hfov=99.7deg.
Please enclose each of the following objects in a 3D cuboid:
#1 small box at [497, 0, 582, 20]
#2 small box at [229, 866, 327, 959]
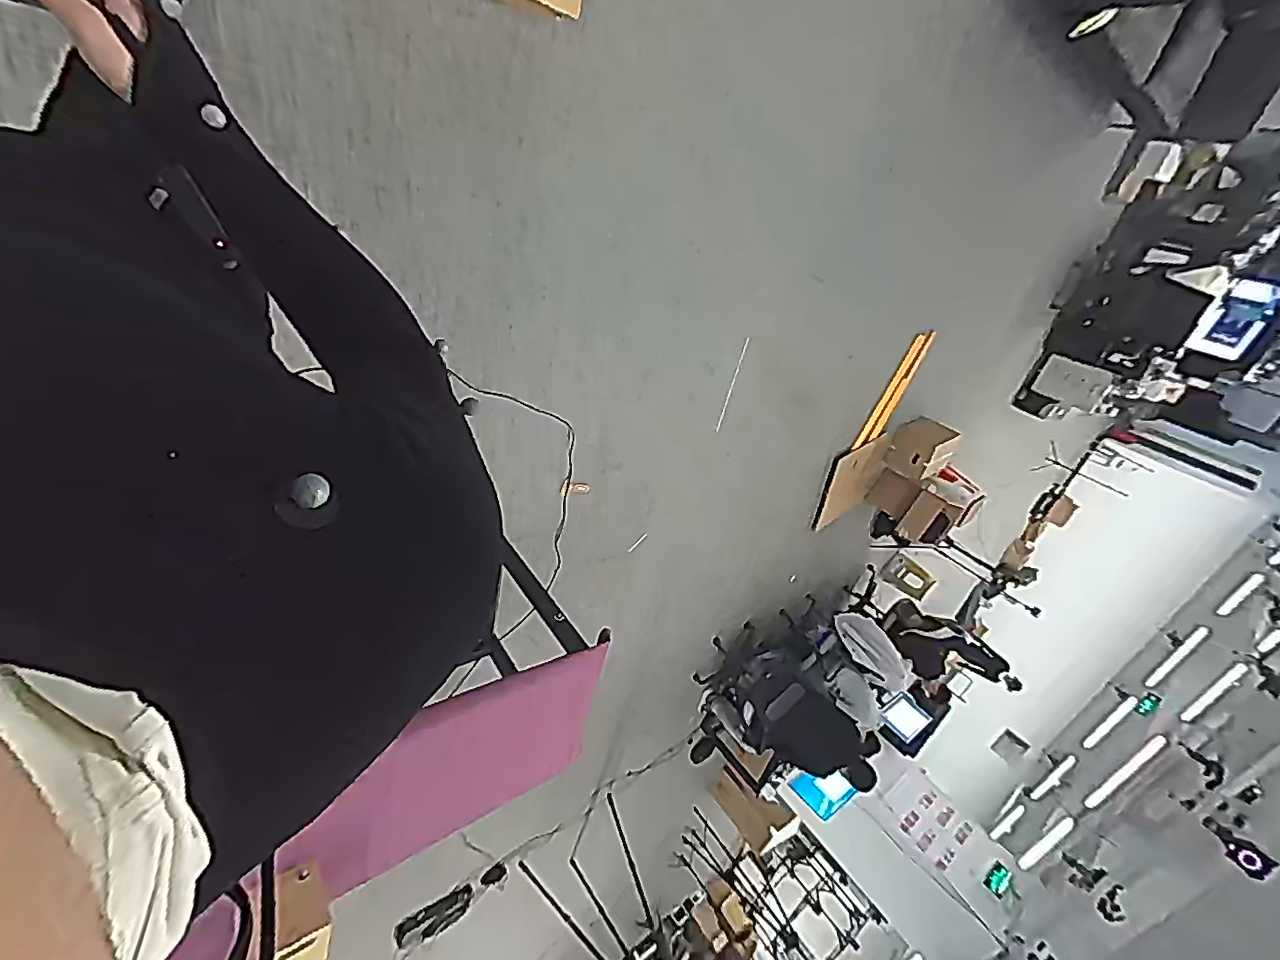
[{"bbox_3d":[-0.237,-1.159,1.206,0.179,0.176,0.168,-11,128,-40],"label":"small box"},{"bbox_3d":[-0.862,1.066,1.281,0.168,0.176,0.179,-4,124,-43],"label":"small box"}]
